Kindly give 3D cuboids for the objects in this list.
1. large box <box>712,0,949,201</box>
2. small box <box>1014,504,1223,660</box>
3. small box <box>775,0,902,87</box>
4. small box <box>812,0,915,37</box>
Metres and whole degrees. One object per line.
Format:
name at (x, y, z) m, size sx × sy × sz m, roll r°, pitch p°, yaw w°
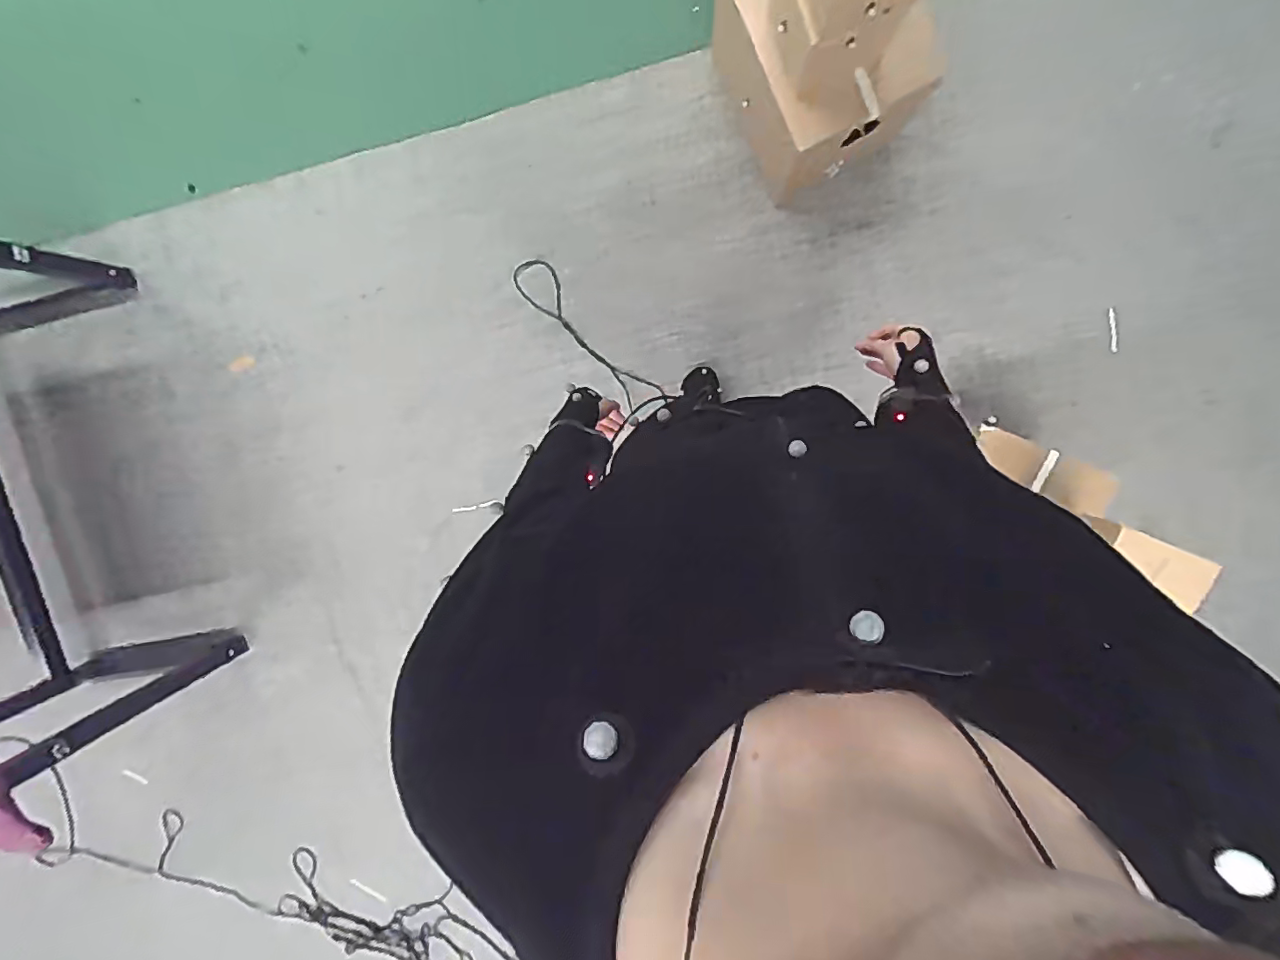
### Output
large box at (0.382, -0.916, 1.180) m, size 0.320 × 0.320 × 0.408 m, roll -25°, pitch 95°, yaw 7°
small box at (0.779, 0.161, 0.908) m, size 0.168 × 0.176 × 0.179 m, roll 23°, pitch 99°, yaw 0°
small box at (0.346, -0.840, 0.945) m, size 0.179 × 0.176 × 0.168 m, roll -20°, pitch 98°, yaw 8°
small box at (0.340, -0.812, 0.786) m, size 0.168 × 0.176 × 0.179 m, roll -18°, pitch 98°, yaw 8°
